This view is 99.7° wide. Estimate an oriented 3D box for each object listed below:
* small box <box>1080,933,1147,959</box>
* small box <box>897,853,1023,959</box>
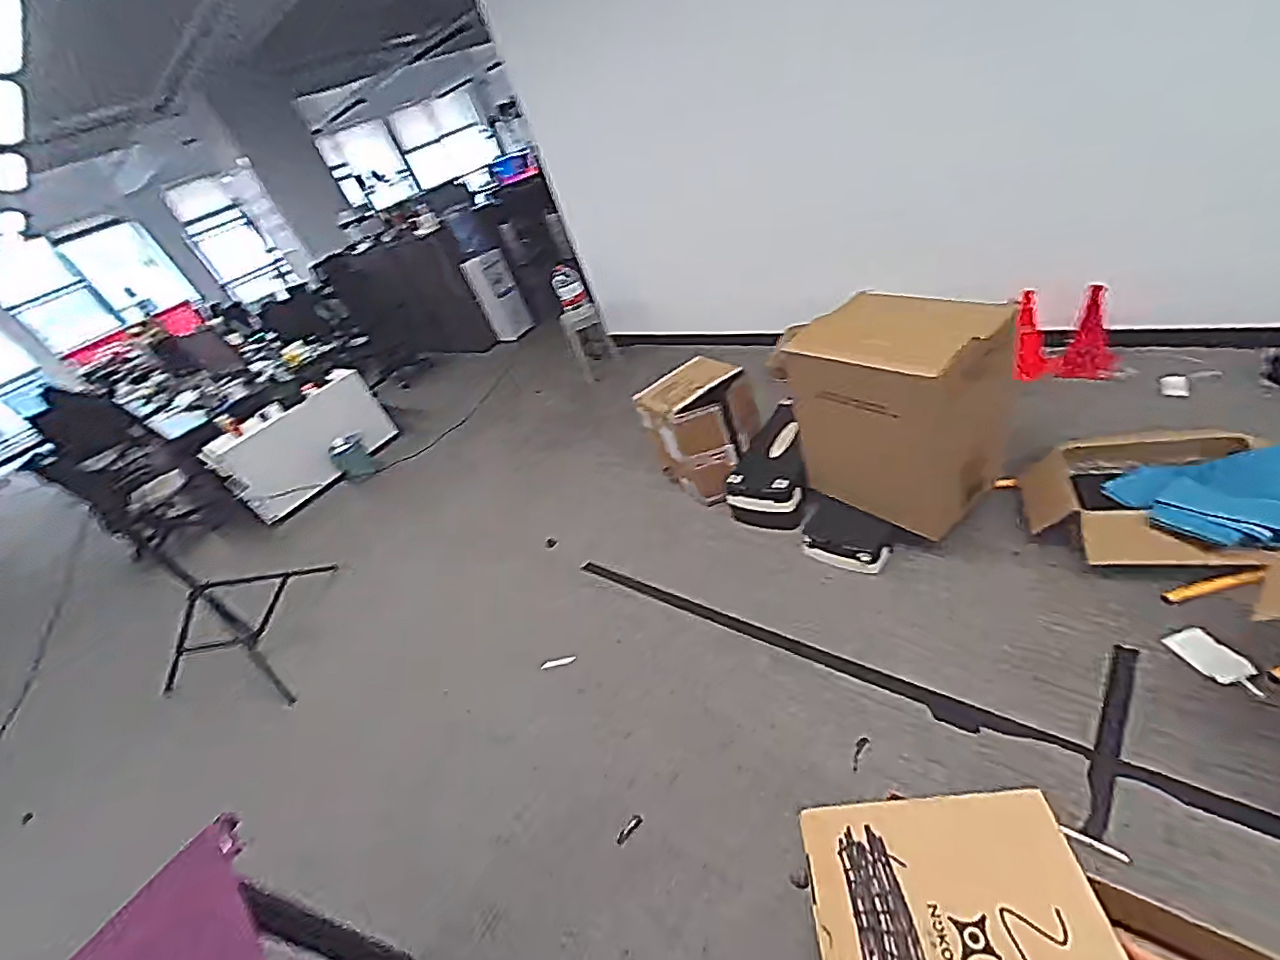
[{"bbox_3d":[0.802,0.888,0.859,0.168,0.176,0.179,8,45,38],"label":"small box"},{"bbox_3d":[0.597,0.855,1.015,0.179,0.176,0.168,8,44,35],"label":"small box"}]
